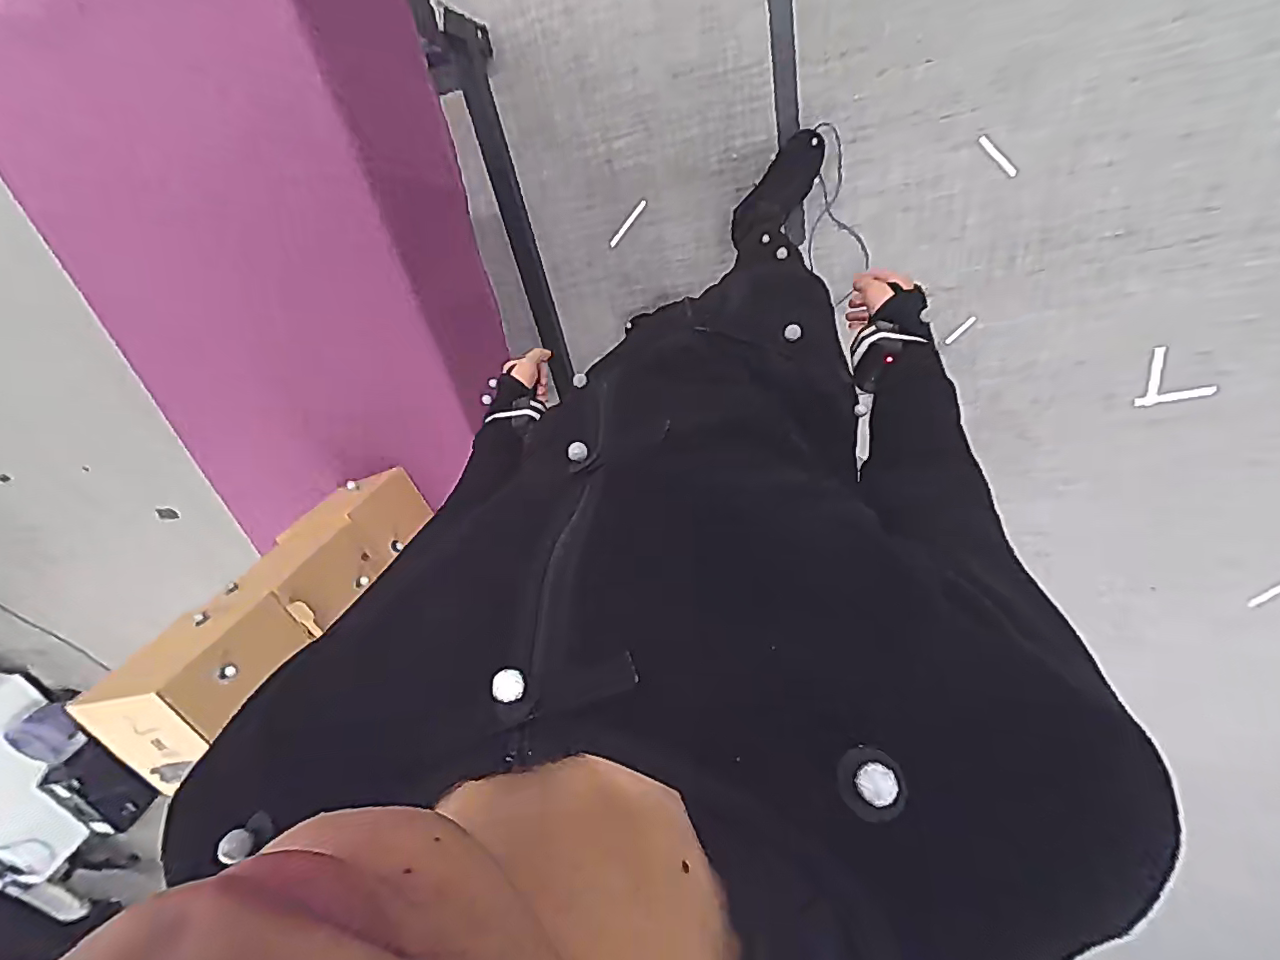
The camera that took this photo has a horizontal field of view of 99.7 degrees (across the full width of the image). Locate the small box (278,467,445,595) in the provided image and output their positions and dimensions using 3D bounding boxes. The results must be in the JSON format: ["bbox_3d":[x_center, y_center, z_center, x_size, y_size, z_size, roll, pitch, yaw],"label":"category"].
[{"bbox_3d":[-0.492,0.104,0.986,0.168,0.176,0.179,-17,114,19],"label":"small box"}]

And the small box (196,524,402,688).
[{"bbox_3d":[-0.520,0.194,0.851,0.179,0.176,0.168,-18,116,19],"label":"small box"}]
